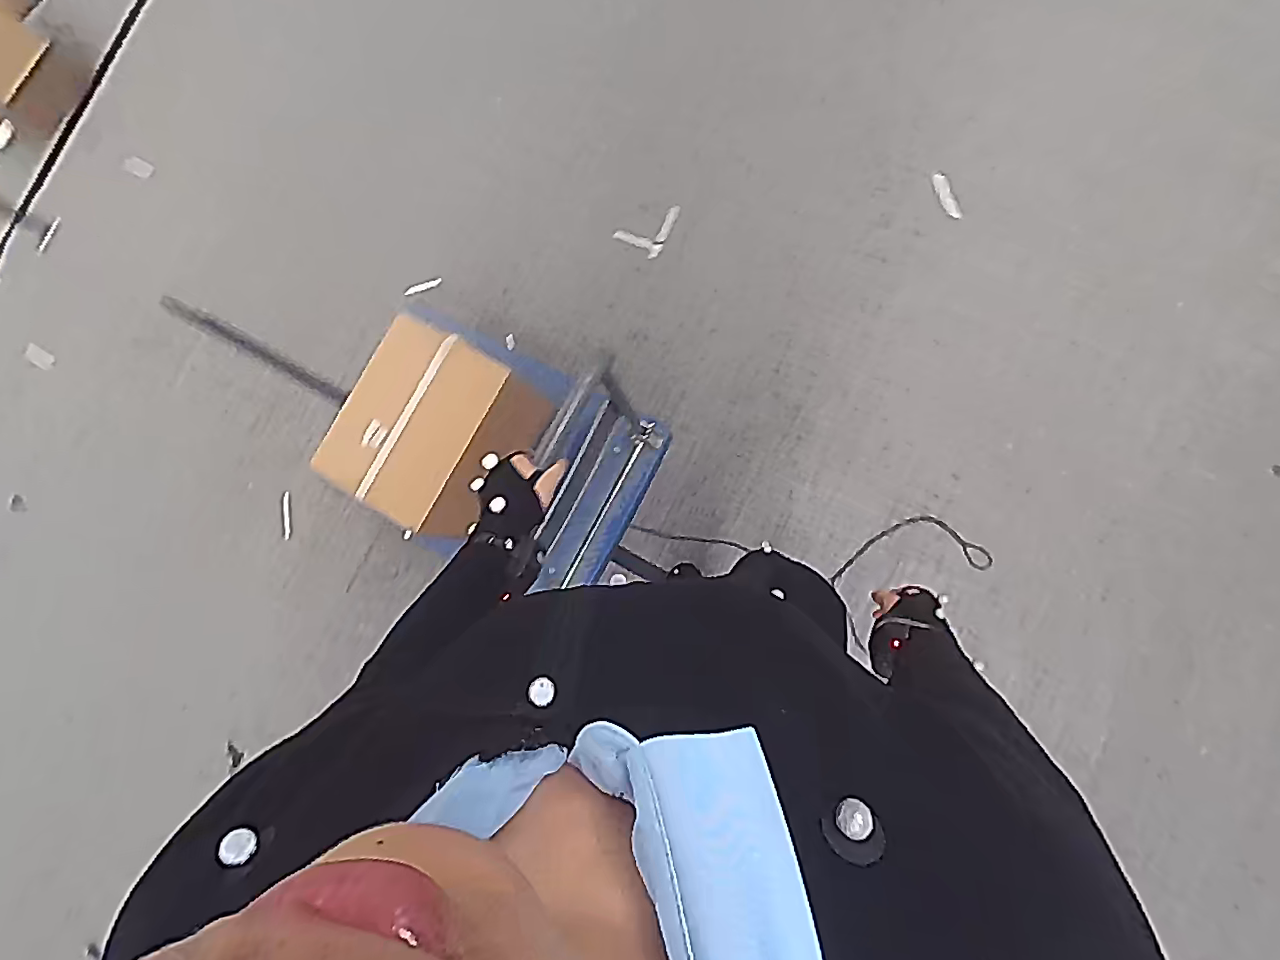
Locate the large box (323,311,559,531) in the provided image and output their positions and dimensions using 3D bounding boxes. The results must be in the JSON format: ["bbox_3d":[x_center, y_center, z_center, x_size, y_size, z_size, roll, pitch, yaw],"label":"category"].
[{"bbox_3d":[-0.460,-0.122,1.325,0.320,0.320,0.408,30,89,14],"label":"large box"}]
